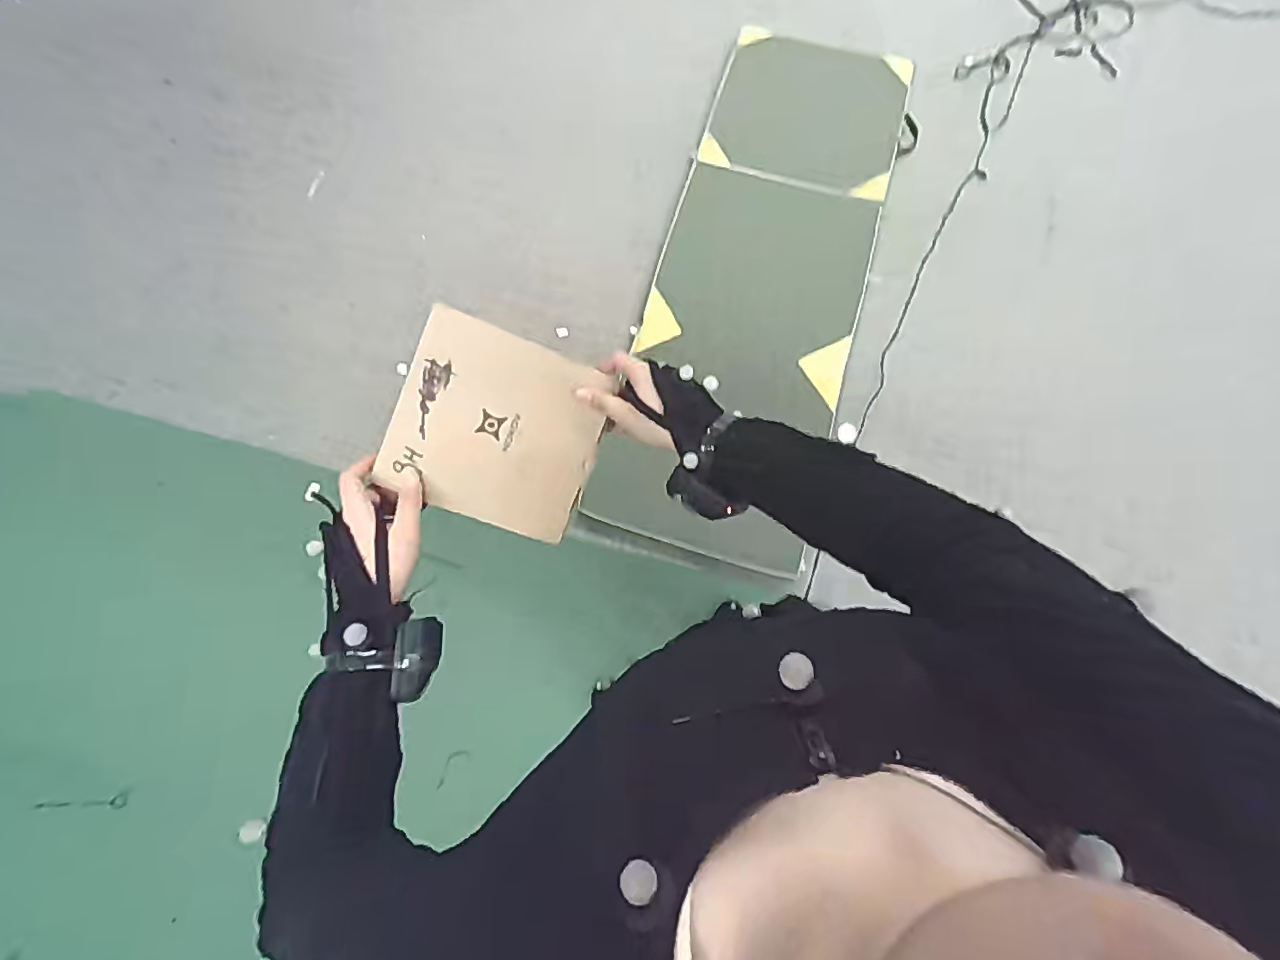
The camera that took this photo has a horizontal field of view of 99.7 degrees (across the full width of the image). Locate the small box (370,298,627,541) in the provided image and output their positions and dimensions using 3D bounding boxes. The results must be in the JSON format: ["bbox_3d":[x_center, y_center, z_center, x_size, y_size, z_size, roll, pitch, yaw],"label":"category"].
[{"bbox_3d":[-0.136,-0.059,0.547,0.179,0.176,0.168,22,92,-15],"label":"small box"}]
